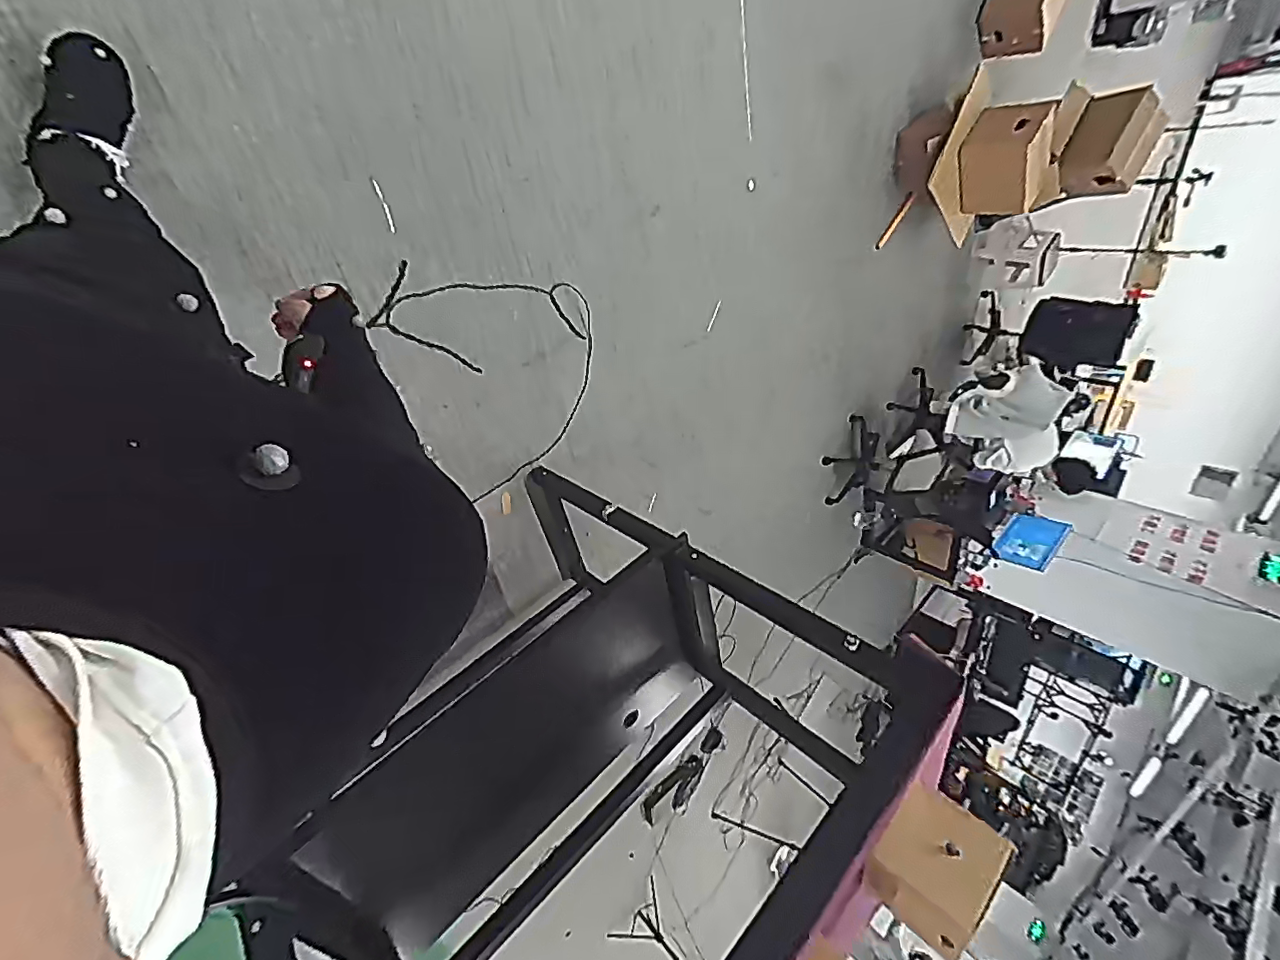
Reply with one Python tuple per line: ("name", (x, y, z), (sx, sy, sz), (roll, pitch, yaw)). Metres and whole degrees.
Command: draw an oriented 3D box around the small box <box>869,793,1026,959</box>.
("small box", (0.516, 0.684, 0.923), (0.179, 0.176, 0.168), (-37, 131, -28))
